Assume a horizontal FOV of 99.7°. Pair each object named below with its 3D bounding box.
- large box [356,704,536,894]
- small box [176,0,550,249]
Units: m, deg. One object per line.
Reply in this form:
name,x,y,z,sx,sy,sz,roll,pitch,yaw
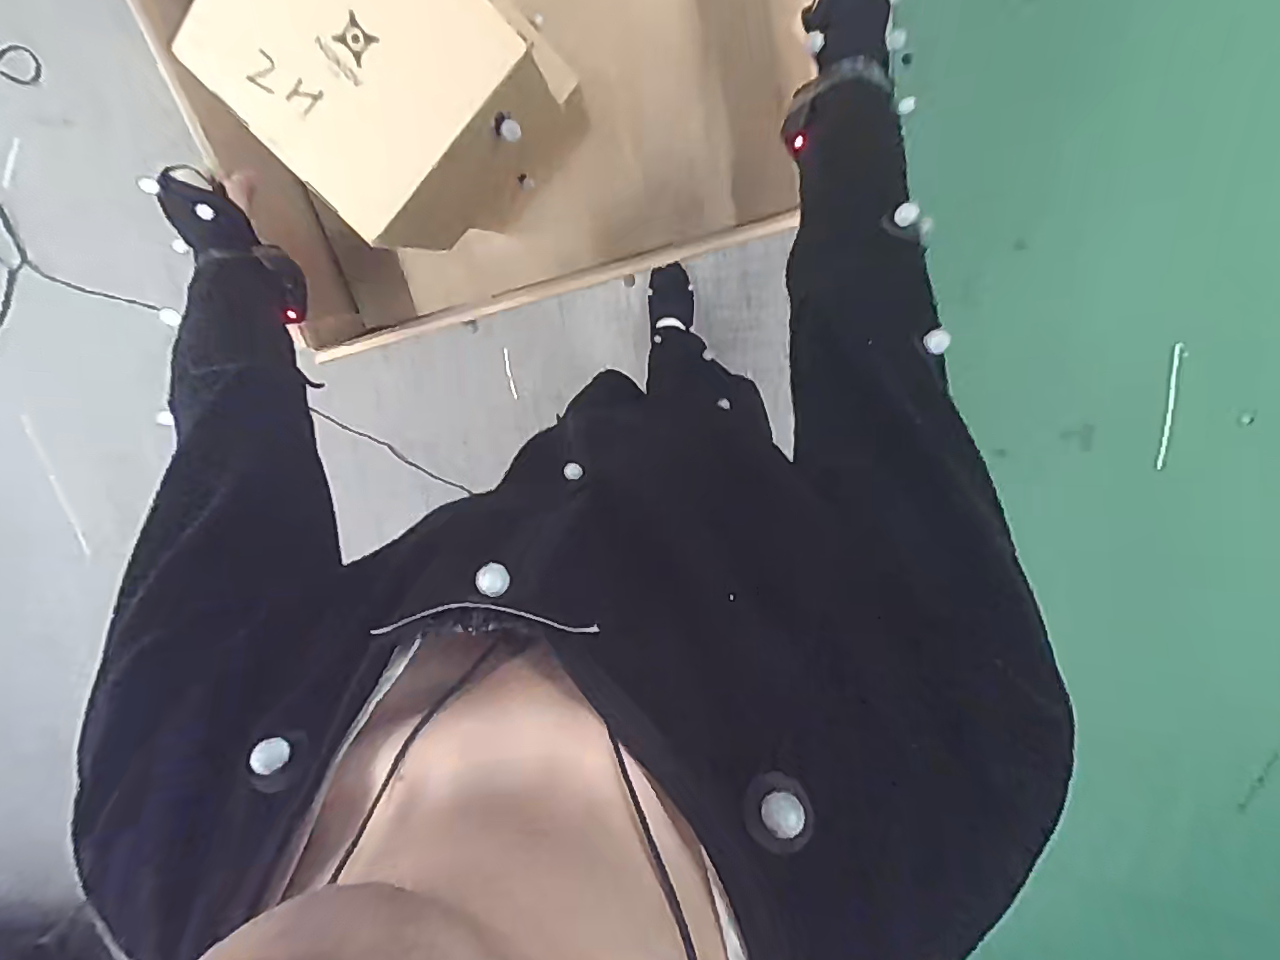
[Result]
large box,-0.597,0.993,1.712,0.408,0.320,0.320,23,107,0
small box,-0.189,-0.310,0.428,0.179,0.176,0.168,-41,105,16
